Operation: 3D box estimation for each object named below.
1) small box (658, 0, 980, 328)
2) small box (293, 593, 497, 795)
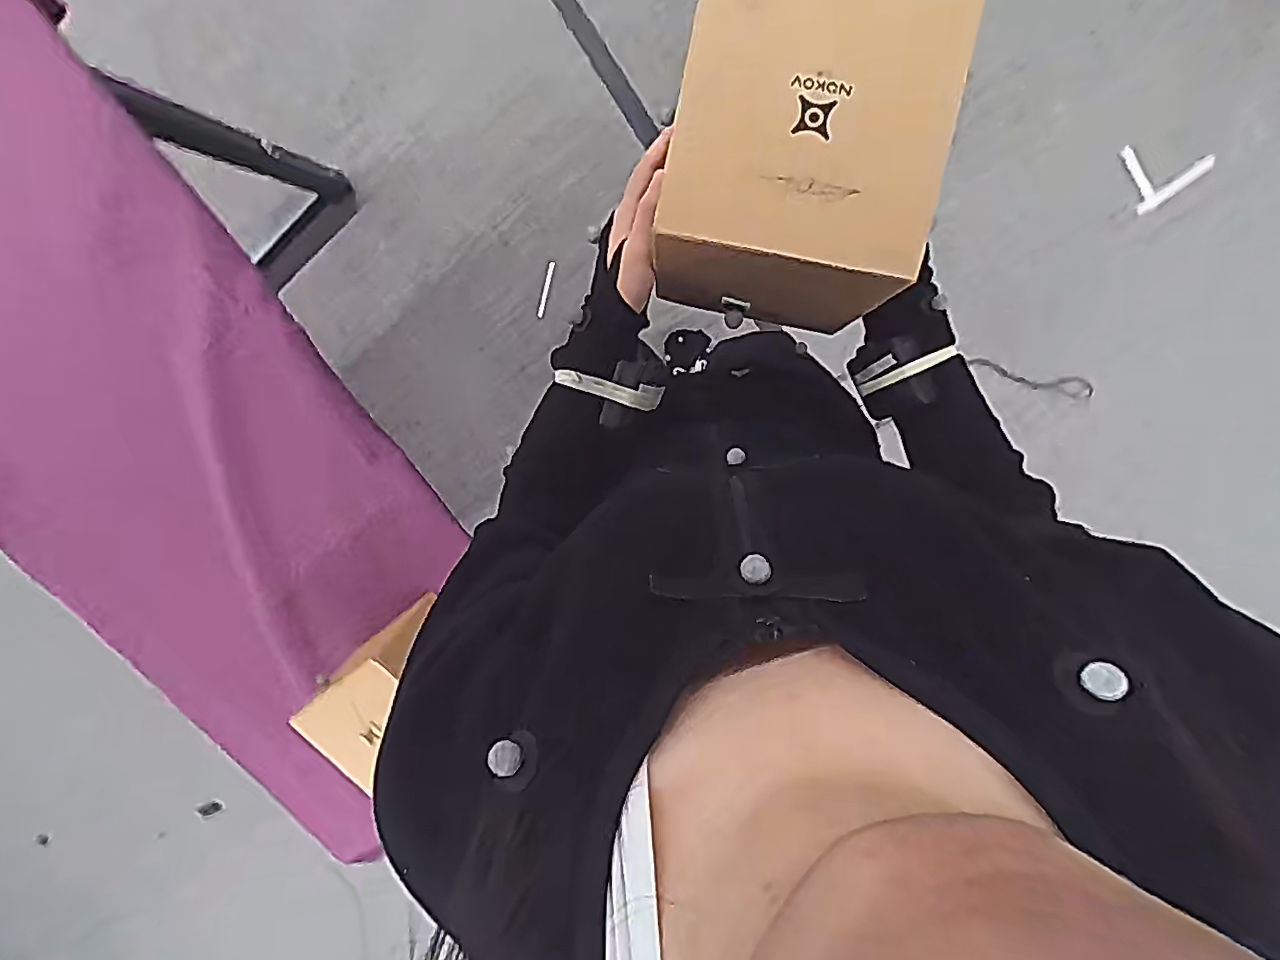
[{"bbox_3d":[0.110,-0.231,0.407,0.168,0.176,0.179,12,95,2],"label":"small box"},{"bbox_3d":[-0.339,0.300,0.785,0.179,0.176,0.168,-37,102,13],"label":"small box"}]
